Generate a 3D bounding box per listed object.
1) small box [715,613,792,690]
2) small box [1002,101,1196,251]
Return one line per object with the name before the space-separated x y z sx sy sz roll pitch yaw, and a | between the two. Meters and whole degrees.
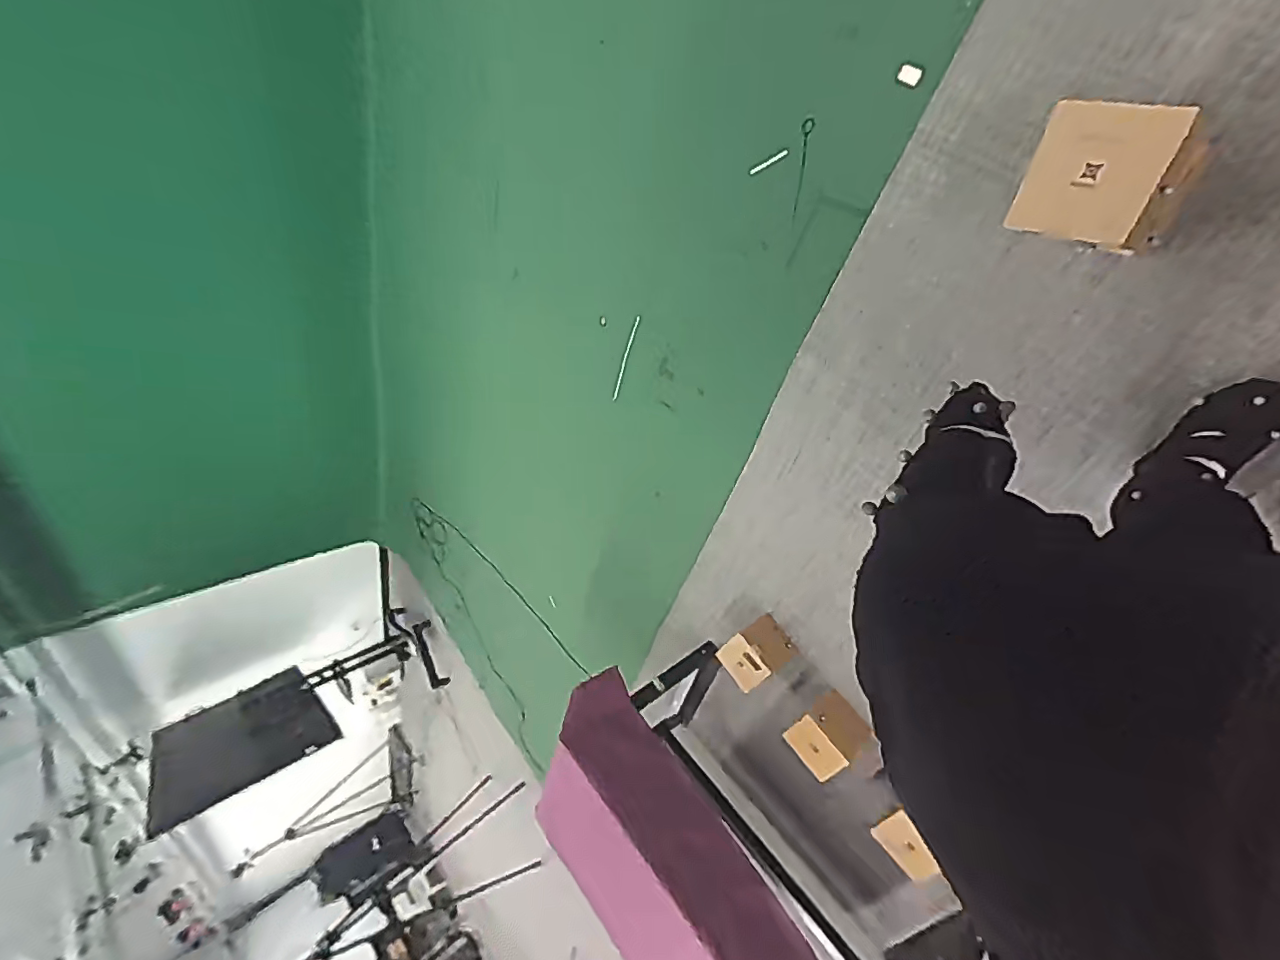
small box | 0.402 0.592 1.883 0.168 0.176 0.179 52 137 23
small box | 0.718 -0.467 0.846 0.168 0.176 0.179 35 128 34
